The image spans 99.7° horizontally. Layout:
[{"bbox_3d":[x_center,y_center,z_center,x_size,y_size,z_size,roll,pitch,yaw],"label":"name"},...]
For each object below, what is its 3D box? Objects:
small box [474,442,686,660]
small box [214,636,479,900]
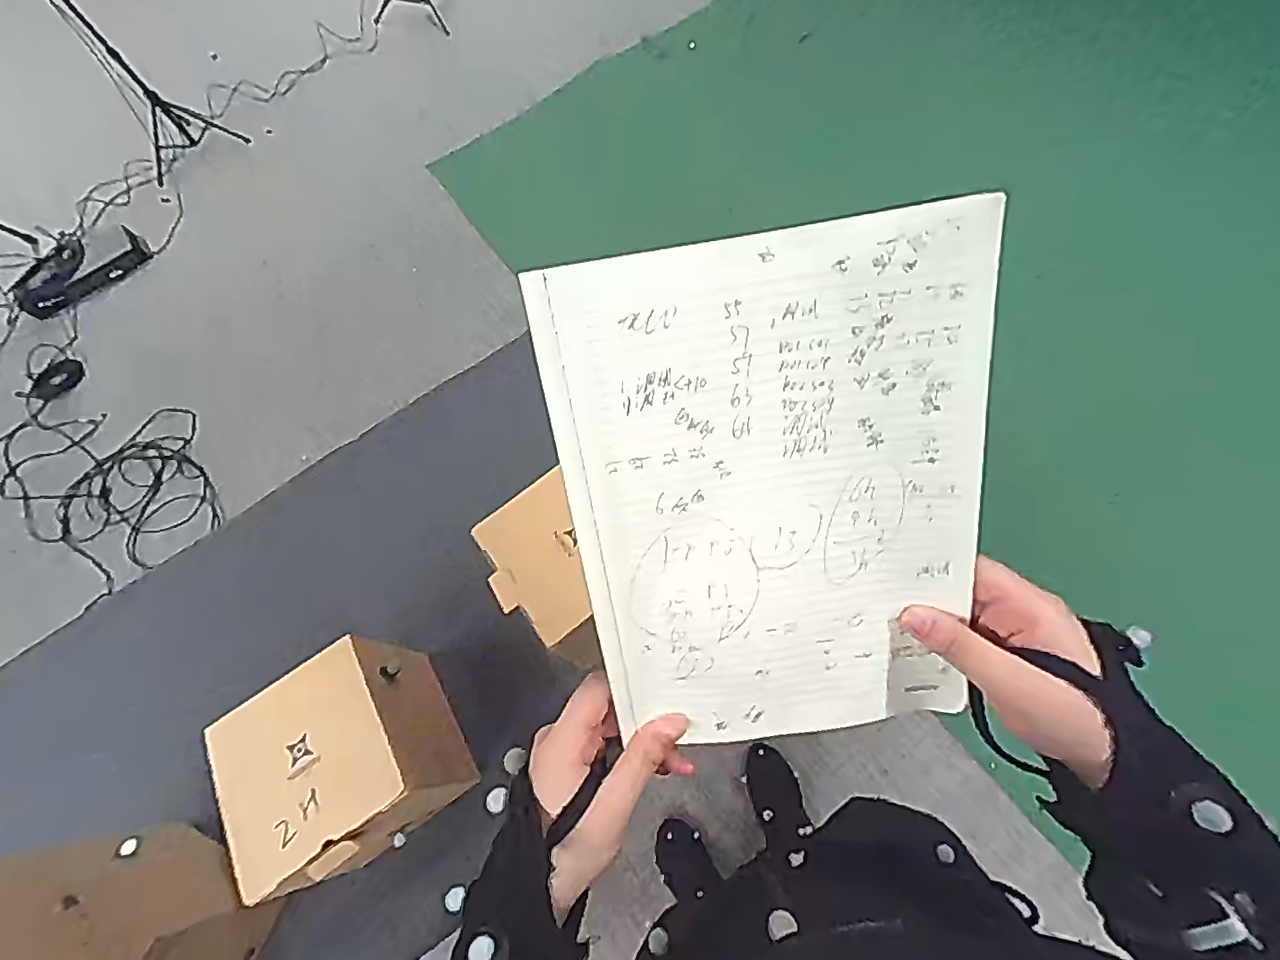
[{"bbox_3d":[-0.058,0.093,0.650,0.179,0.176,0.168,-39,65,-8],"label":"small box"},{"bbox_3d":[-0.309,0.303,0.595,0.168,0.176,0.179,-34,65,-7],"label":"small box"}]
